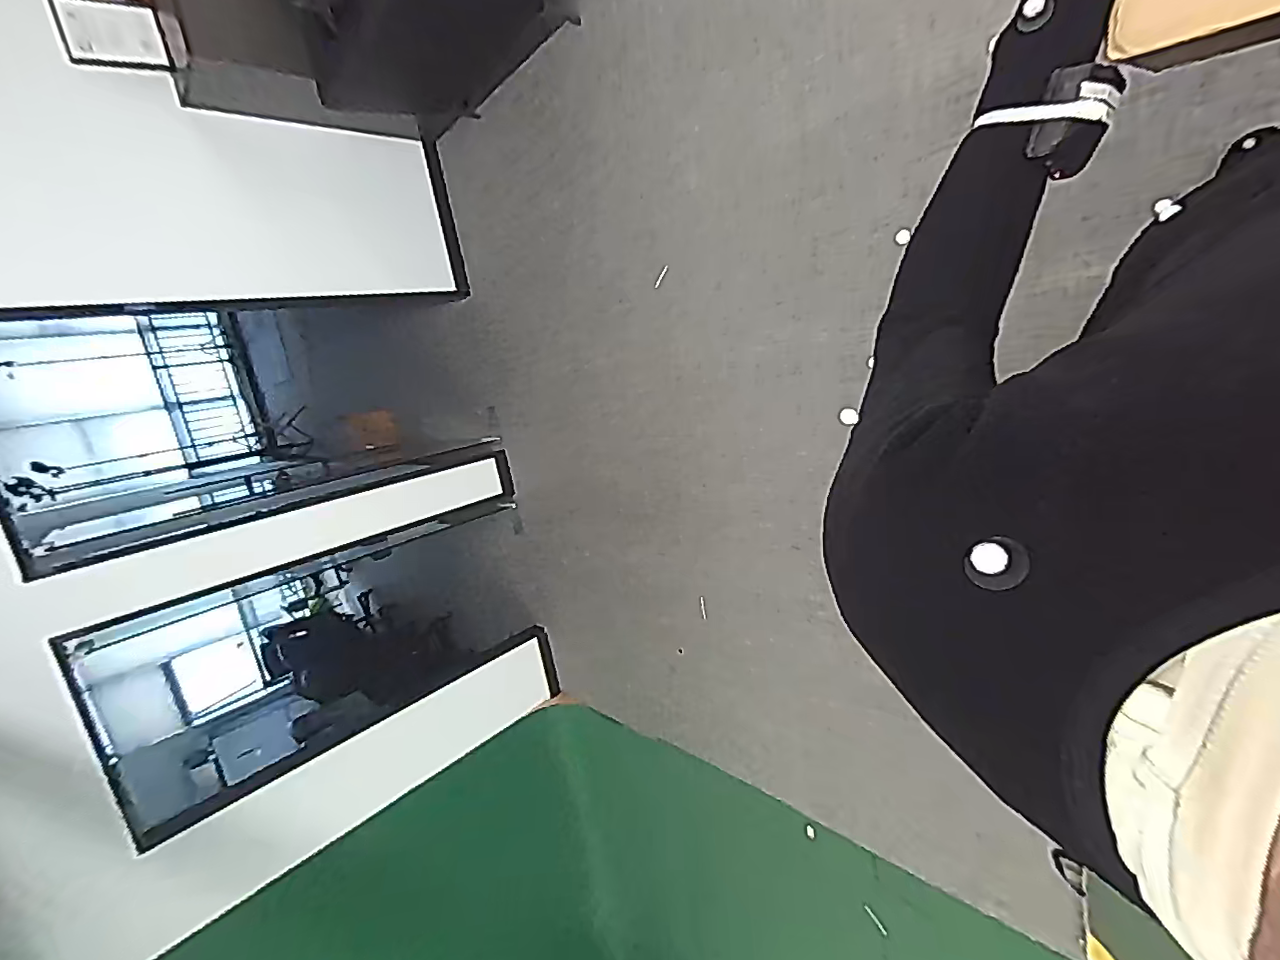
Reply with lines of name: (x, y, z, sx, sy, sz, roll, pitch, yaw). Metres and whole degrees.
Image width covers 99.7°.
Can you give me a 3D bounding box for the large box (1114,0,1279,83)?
large box: (0.569, -0.494, 0.317, 0.408, 0.320, 0.320, 10, 122, 44)
